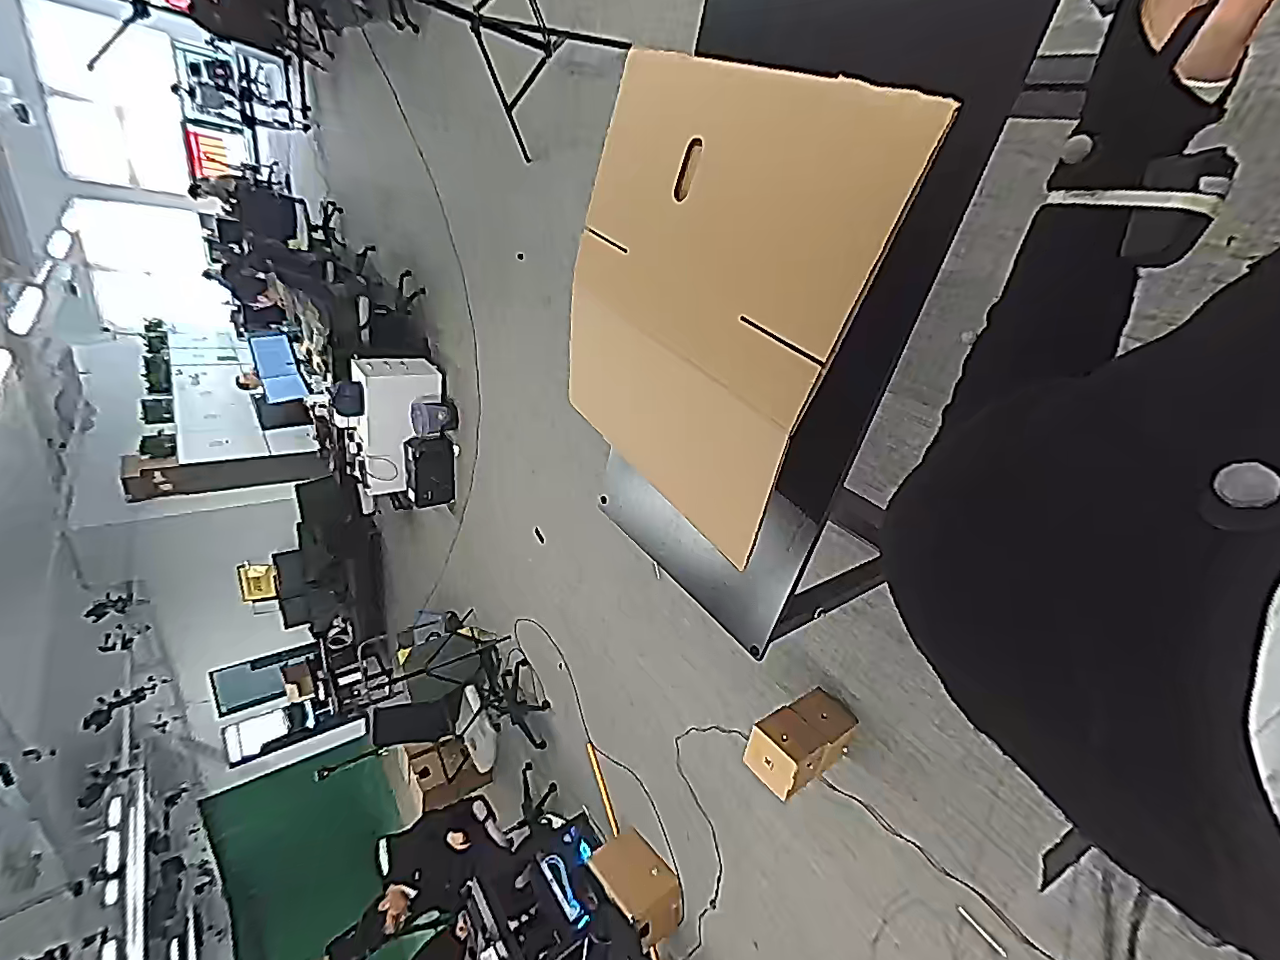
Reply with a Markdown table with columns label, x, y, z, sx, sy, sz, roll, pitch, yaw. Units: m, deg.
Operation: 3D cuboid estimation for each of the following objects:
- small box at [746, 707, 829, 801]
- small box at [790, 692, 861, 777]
| label | x | y | z | sx | sy | sz | roll | pitch | yaw |
| --- | --- | --- | --- | --- | --- | --- | --- | --- | --- |
| small box | 0.471 | 0.863 | 1.723 | 0.179 | 0.176 | 0.168 | 33 | 123 | 44 |
| small box | 0.602 | 0.842 | 1.818 | 0.179 | 0.176 | 0.168 | 35 | 125 | 42 |
